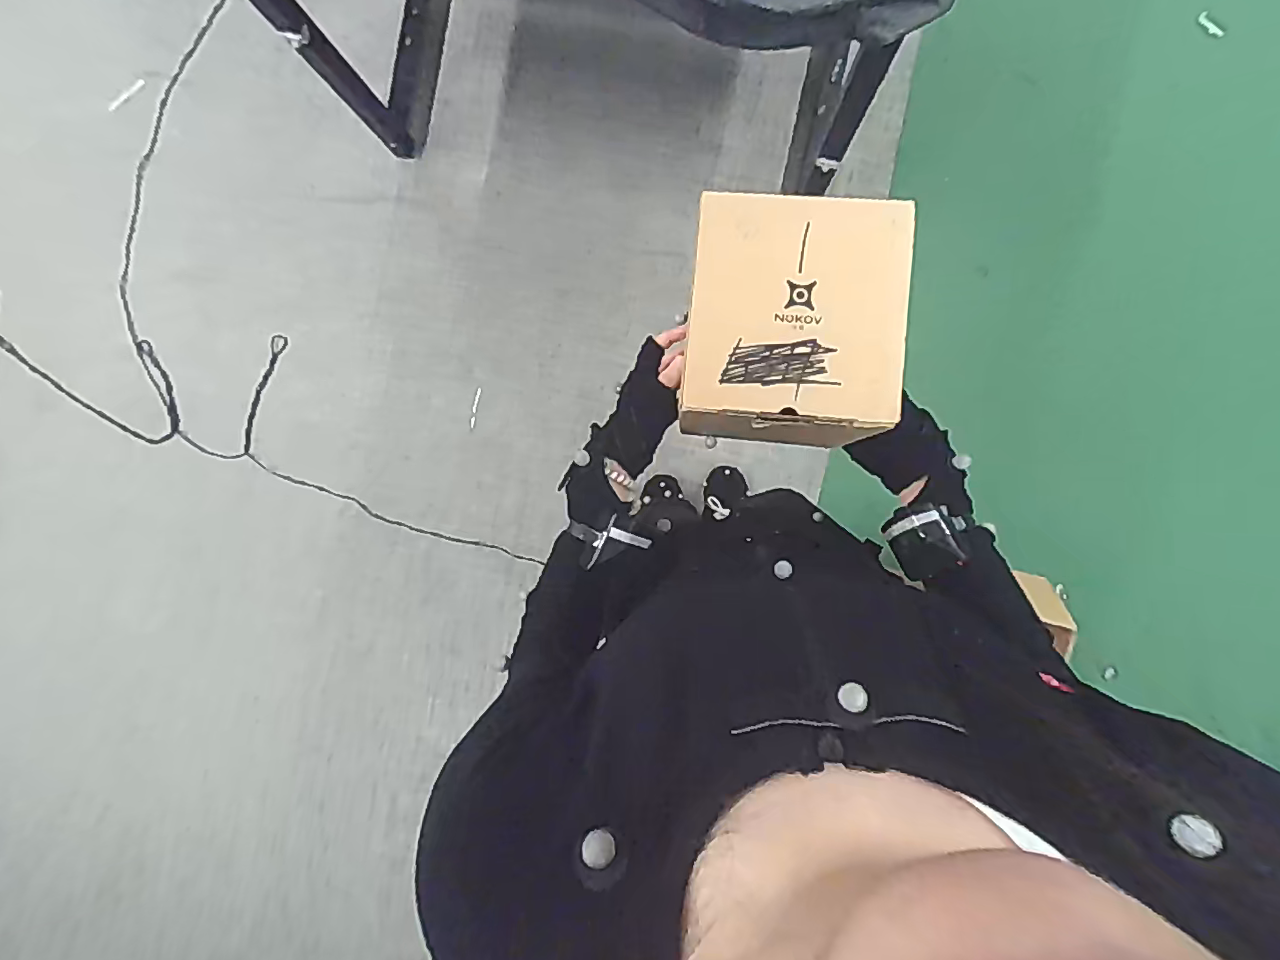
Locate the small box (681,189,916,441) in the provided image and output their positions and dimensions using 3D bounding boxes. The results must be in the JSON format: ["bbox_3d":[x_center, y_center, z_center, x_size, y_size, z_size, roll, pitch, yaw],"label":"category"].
[{"bbox_3d":[0.127,-0.133,0.496,0.168,0.176,0.179,5,88,4],"label":"small box"}]
